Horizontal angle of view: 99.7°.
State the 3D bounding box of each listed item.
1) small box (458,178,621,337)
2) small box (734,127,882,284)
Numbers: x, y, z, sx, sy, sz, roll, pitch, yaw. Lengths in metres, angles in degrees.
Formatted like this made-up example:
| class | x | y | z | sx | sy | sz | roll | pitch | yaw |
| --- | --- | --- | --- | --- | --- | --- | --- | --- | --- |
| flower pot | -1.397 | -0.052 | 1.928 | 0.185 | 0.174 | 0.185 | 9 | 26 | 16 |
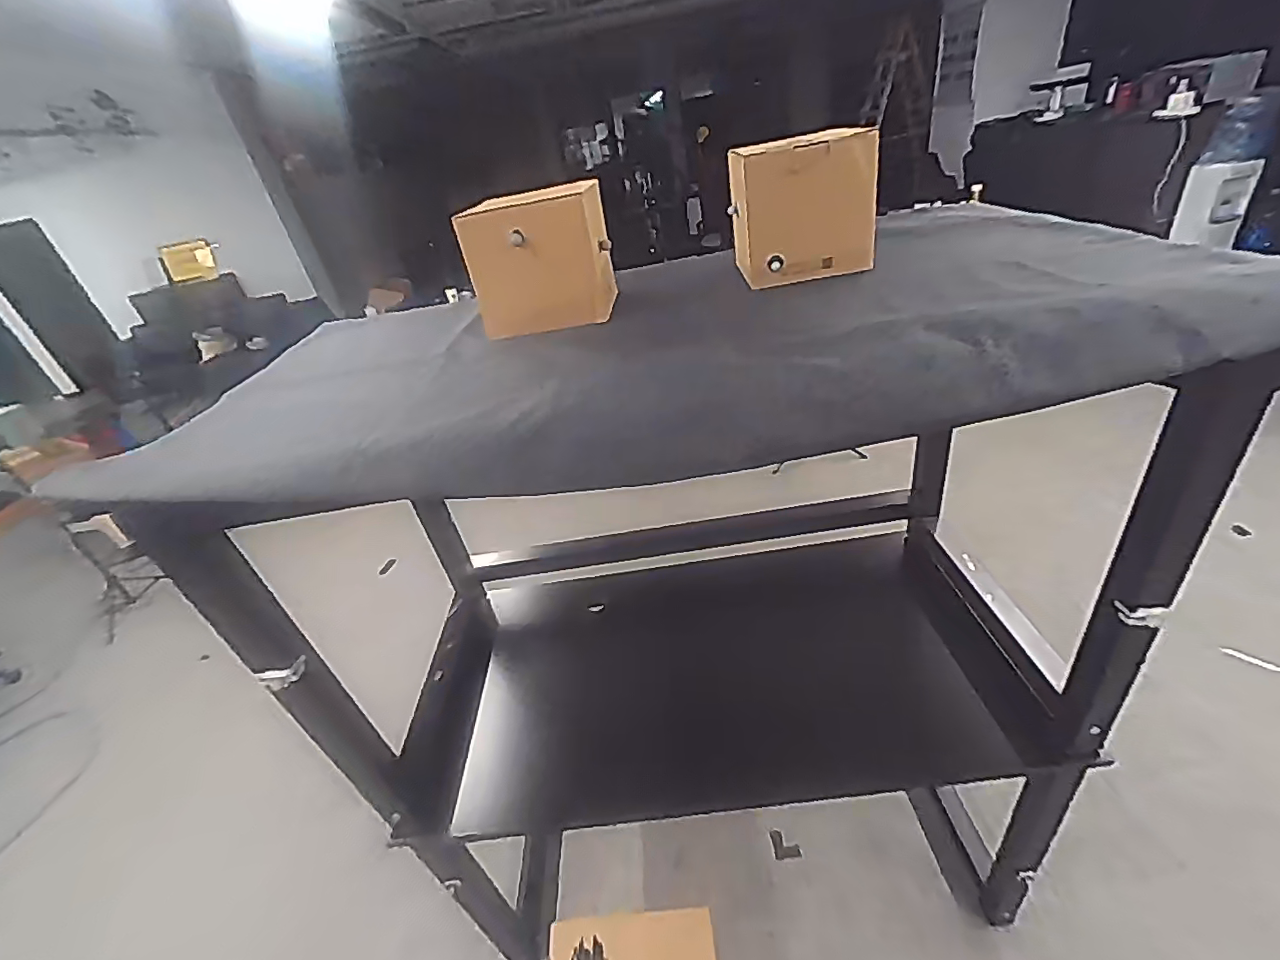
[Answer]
| class | x | y | z | sx | sy | sz | roll | pitch | yaw |
| --- | --- | --- | --- | --- | --- | --- | --- | --- | --- |
| small box | -0.129 | -0.322 | 0.785 | 0.179 | 0.176 | 0.168 | -6 | 33 | 9 |
| small box | 0.231 | -0.388 | 0.773 | 0.168 | 0.176 | 0.179 | -7 | 32 | 7 |
